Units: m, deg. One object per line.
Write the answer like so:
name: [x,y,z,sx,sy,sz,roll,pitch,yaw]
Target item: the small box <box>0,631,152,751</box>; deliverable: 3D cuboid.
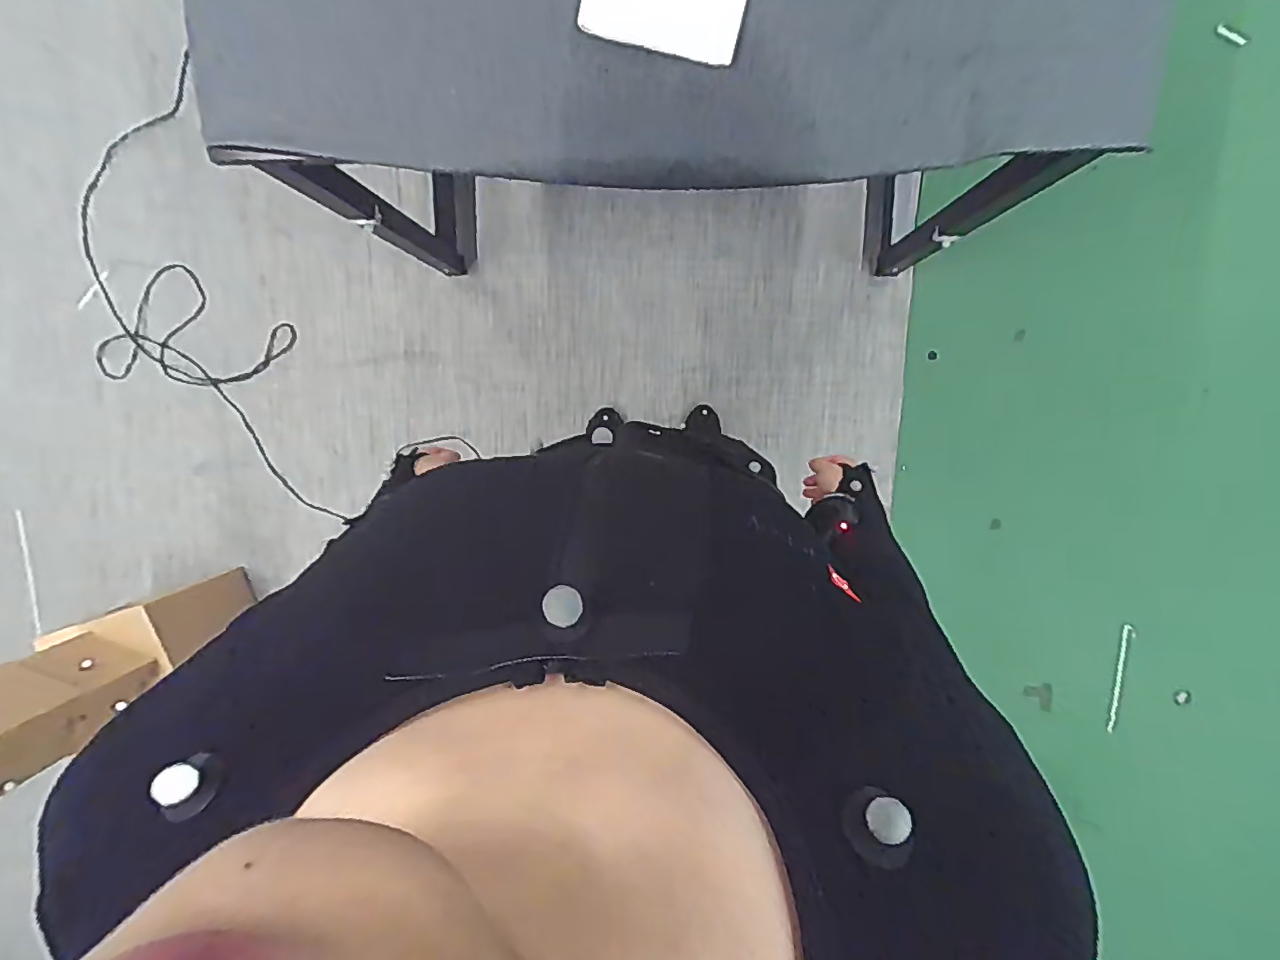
small box: [-1.273,0.468,1.226,0.179,0.176,0.168,22,98,-3]
